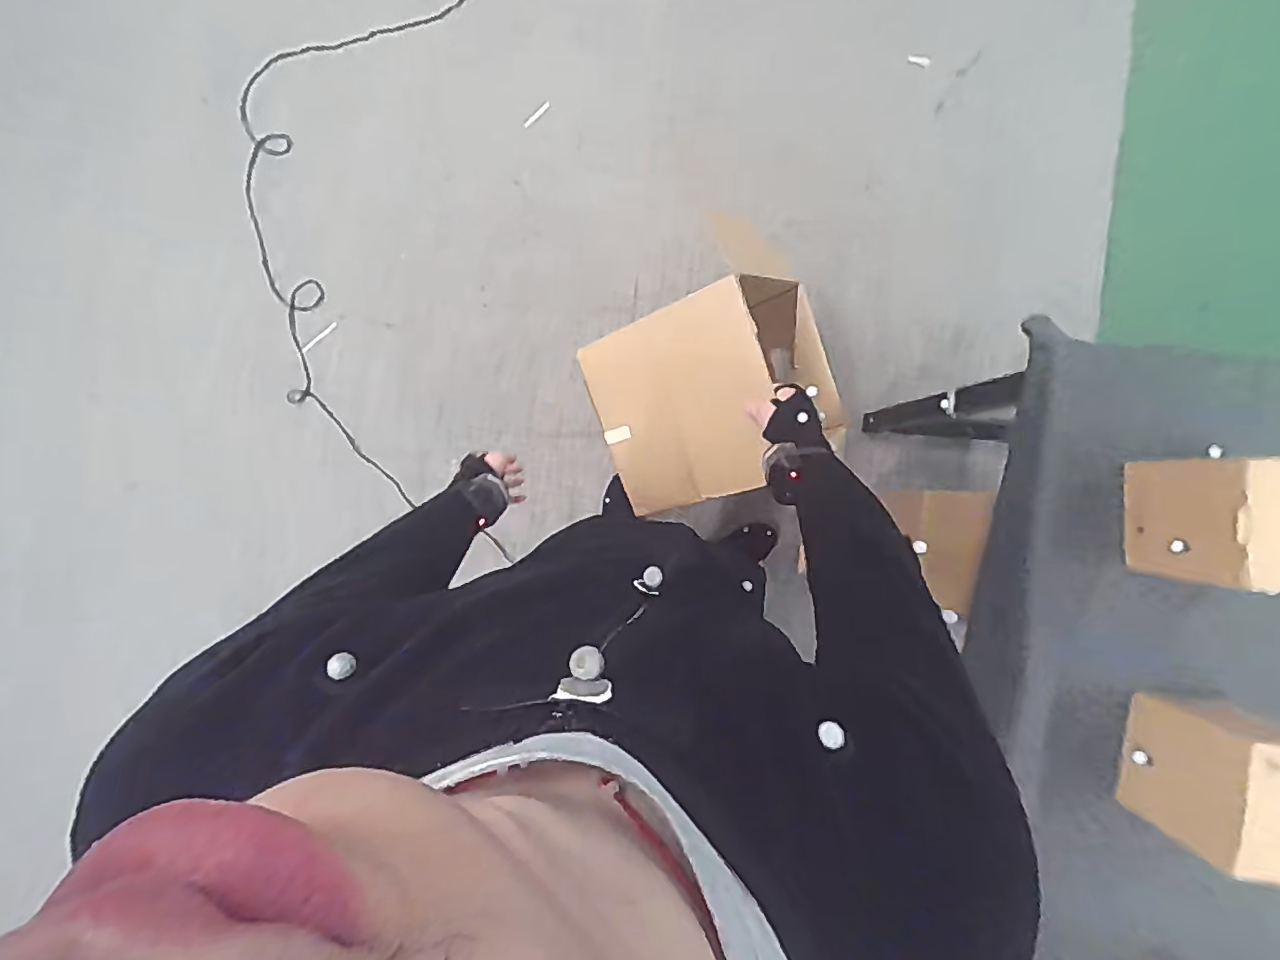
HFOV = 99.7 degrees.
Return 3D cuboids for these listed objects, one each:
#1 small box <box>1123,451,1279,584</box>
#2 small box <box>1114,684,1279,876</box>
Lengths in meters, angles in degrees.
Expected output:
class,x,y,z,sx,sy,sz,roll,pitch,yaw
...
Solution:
class,x,y,z,sx,sy,sz,roll,pitch,yaw
small box,0.827,0.044,0.754,0.179,0.176,0.168,-3,93,-3
small box,0.824,0.414,0.760,0.168,0.176,0.179,8,92,-1
